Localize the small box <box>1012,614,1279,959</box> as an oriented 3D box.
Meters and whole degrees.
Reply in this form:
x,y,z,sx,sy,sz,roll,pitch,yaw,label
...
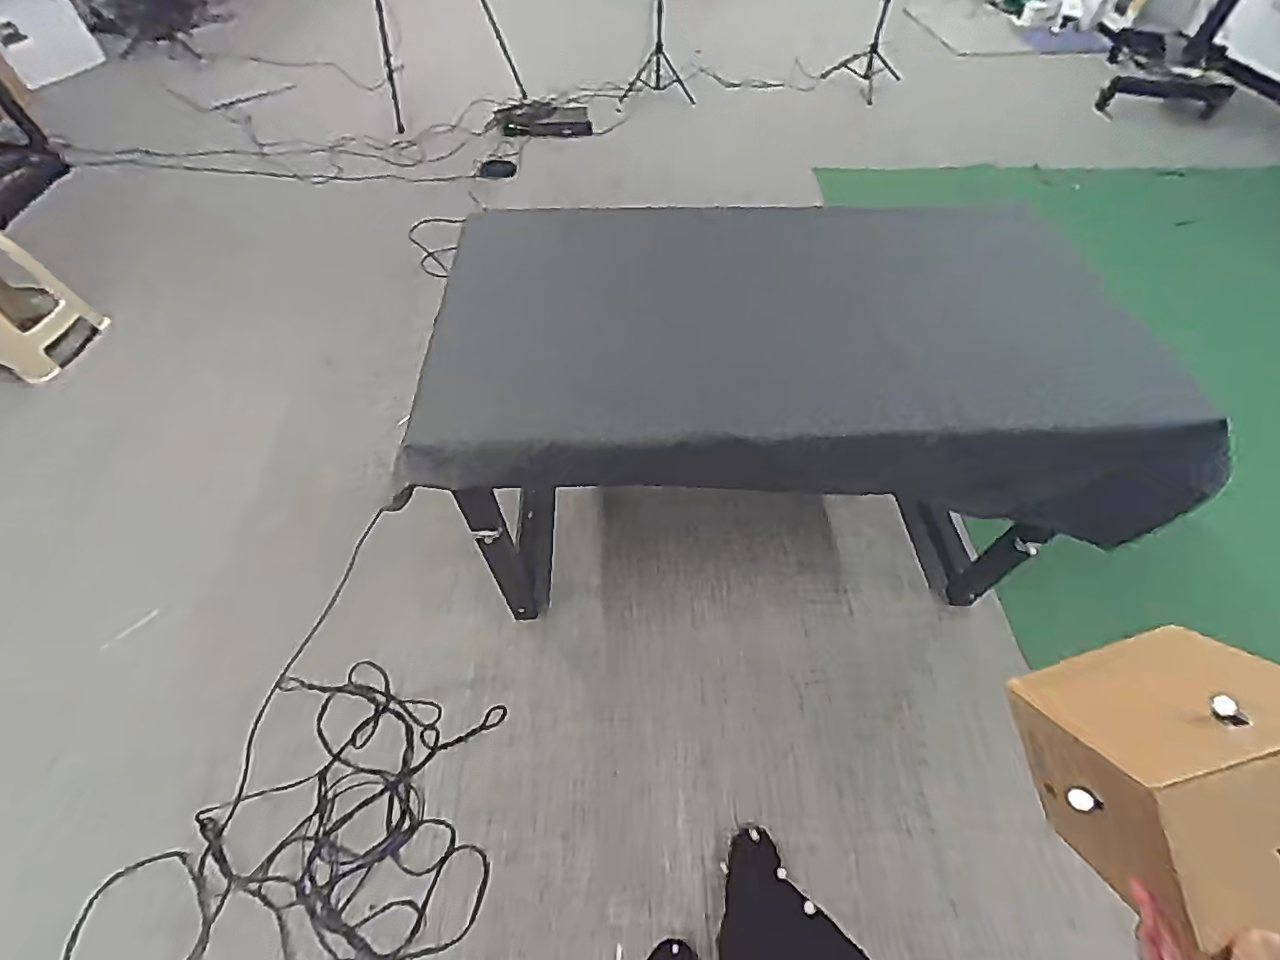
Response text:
x,y,z,sx,sy,sz,roll,pitch,yaw,label
0.456,0.236,0.454,0.179,0.176,0.168,-21,94,3,small box
